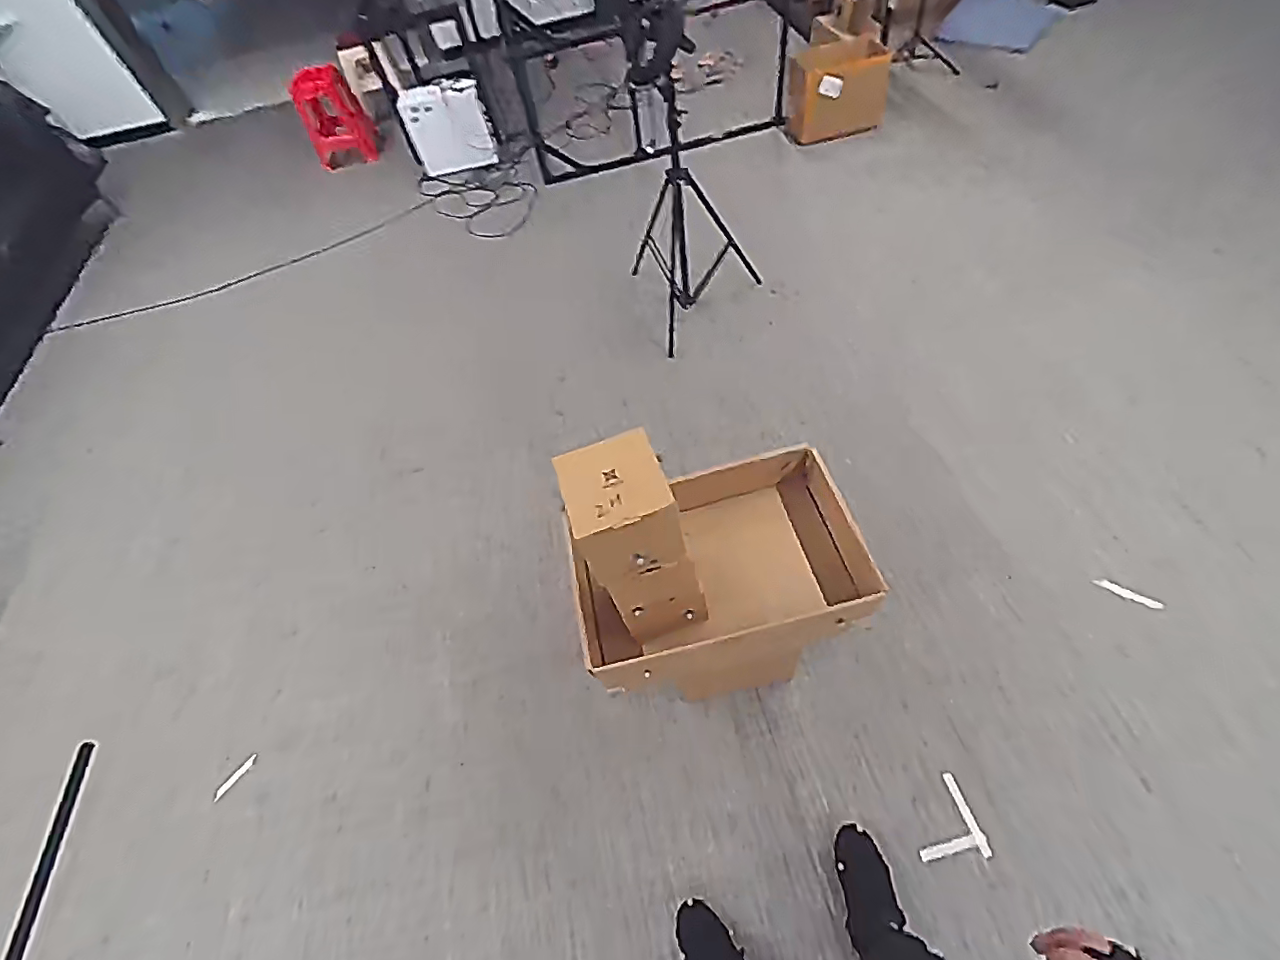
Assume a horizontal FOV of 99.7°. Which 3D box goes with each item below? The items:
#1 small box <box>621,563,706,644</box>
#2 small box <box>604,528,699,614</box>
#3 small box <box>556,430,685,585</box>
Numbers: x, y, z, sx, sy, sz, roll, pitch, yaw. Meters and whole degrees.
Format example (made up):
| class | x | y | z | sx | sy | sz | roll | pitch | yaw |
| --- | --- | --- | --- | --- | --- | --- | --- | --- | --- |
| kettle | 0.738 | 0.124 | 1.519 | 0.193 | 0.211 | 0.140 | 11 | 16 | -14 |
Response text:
| class | x | y | z | sx | sy | sz | roll | pitch | yaw |
| --- | --- | --- | --- | --- | --- | --- | --- | --- | --- |
| small box | 0.040 | 0.239 | 1.191 | 0.179 | 0.176 | 0.168 | -19 | 55 | -1 |
| small box | 0.010 | 0.145 | 1.060 | 0.168 | 0.176 | 0.179 | -18 | 53 | -1 |
| small box | -0.031 | 0.050 | 0.930 | 0.168 | 0.176 | 0.179 | -19 | 54 | -2 |
